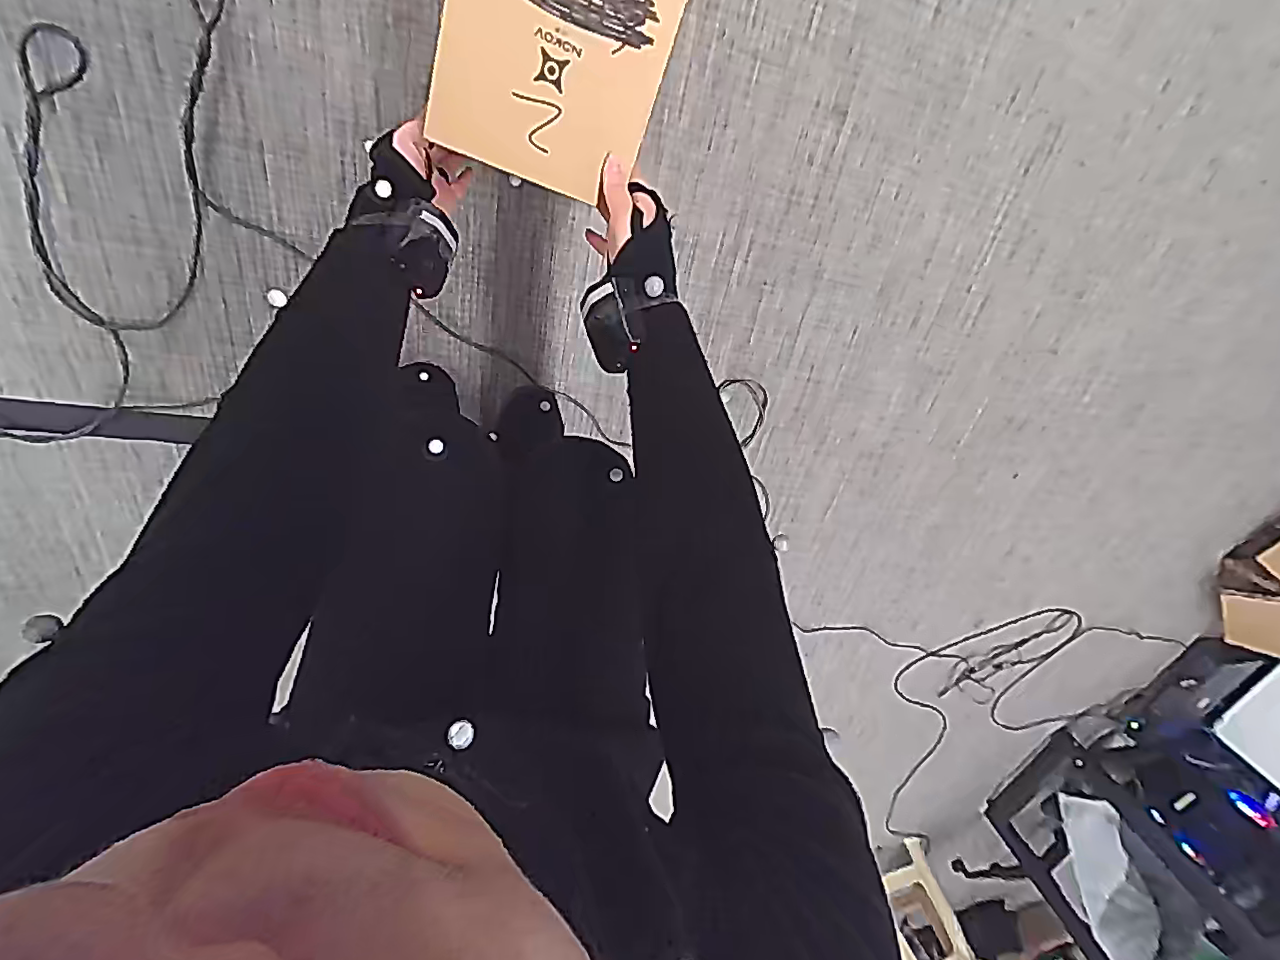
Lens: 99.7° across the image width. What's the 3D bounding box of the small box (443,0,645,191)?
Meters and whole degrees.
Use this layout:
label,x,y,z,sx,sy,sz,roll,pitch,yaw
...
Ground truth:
label,x,y,z,sx,sy,sz,roll,pitch,yaw
small box,-0.115,-0.447,0.614,0.179,0.176,0.168,9,119,-20
